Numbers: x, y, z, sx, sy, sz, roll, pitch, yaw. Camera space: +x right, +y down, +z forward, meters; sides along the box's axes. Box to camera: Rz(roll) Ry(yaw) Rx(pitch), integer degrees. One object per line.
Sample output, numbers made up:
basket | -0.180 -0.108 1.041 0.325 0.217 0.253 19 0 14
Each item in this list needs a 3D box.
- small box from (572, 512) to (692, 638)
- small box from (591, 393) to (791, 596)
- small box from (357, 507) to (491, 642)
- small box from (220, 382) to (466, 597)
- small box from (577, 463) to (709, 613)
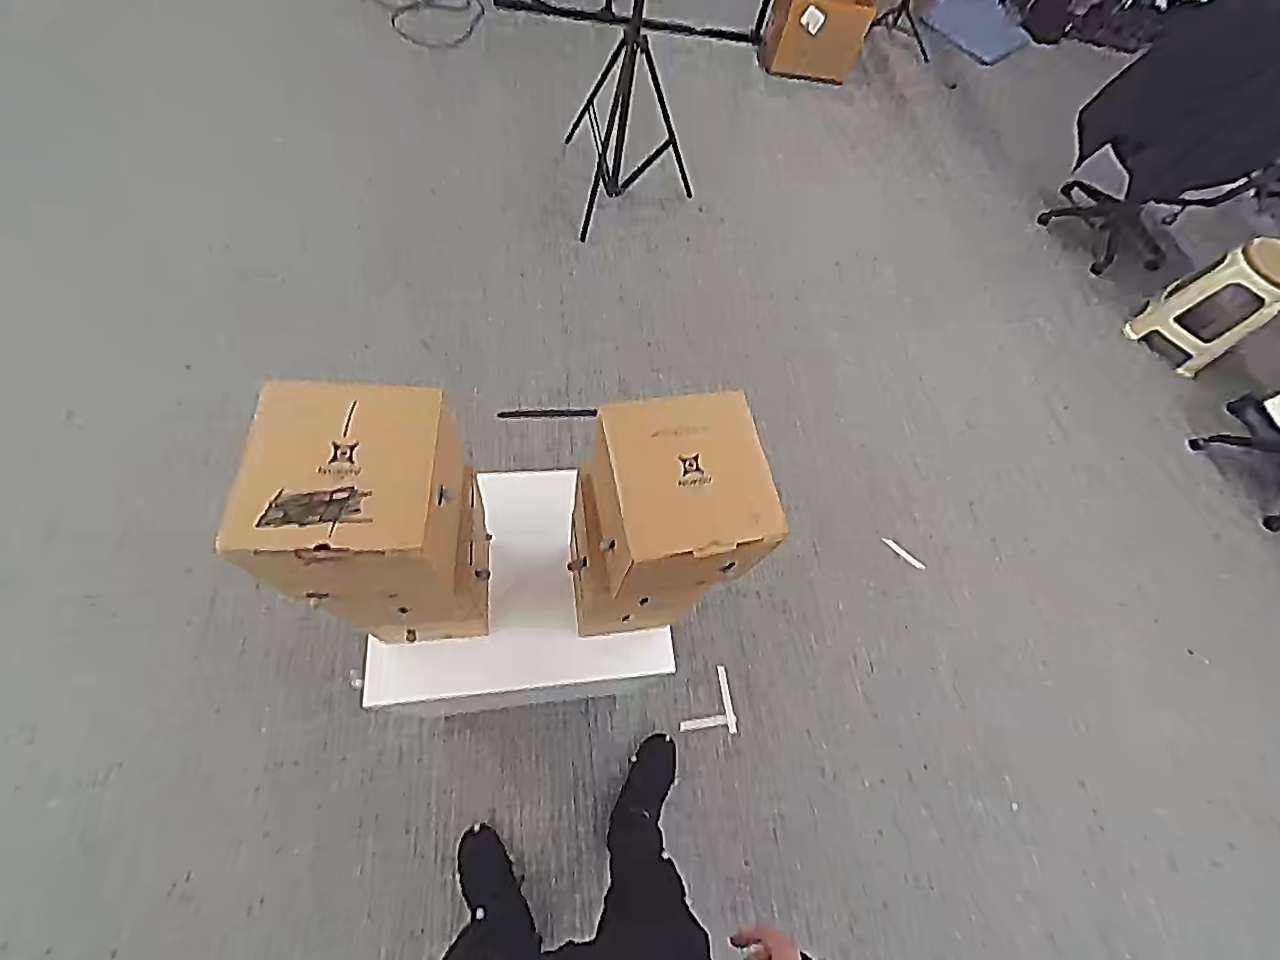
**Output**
small box | -0.024 0.155 0.911 0.168 0.176 0.179 -5 65 -11
small box | 0.042 0.026 0.617 0.168 0.176 0.179 -8 66 -14
small box | -0.328 0.156 0.858 0.168 0.176 0.179 -1 65 -12
small box | -0.281 0.021 0.561 0.168 0.176 0.179 1 64 -10
small box | 0.002 0.085 0.764 0.168 0.176 0.179 -3 65 -11
